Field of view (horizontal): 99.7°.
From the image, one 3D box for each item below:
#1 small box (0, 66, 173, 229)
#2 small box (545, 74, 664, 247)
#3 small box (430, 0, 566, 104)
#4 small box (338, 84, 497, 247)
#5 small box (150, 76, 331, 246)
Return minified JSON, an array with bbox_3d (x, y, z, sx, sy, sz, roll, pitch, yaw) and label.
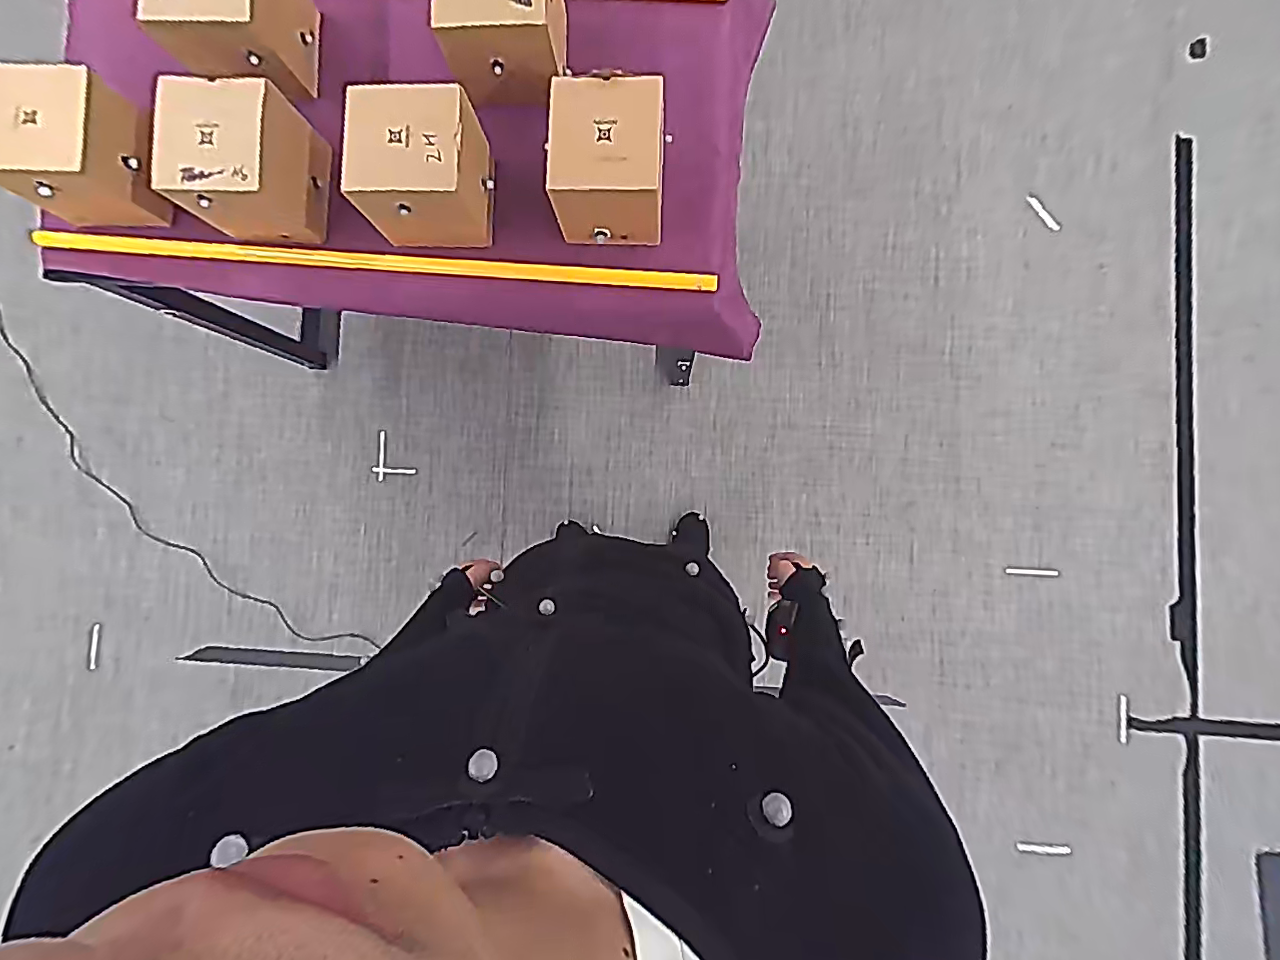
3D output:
[{"bbox_3d":[-0.910,-0.533,0.887,0.179,0.176,0.168,3,87,2],"label":"small box"},{"bbox_3d":[-0.047,-0.495,0.854,0.168,0.176,0.179,2,86,4],"label":"small box"},{"bbox_3d":[-0.218,-0.743,0.872,0.179,0.176,0.168,0,89,3],"label":"small box"},{"bbox_3d":[-0.345,-0.491,0.865,0.179,0.176,0.168,2,87,3],"label":"small box"},{"bbox_3d":[-0.632,-0.507,0.877,0.168,0.176,0.179,3,87,4],"label":"small box"}]
